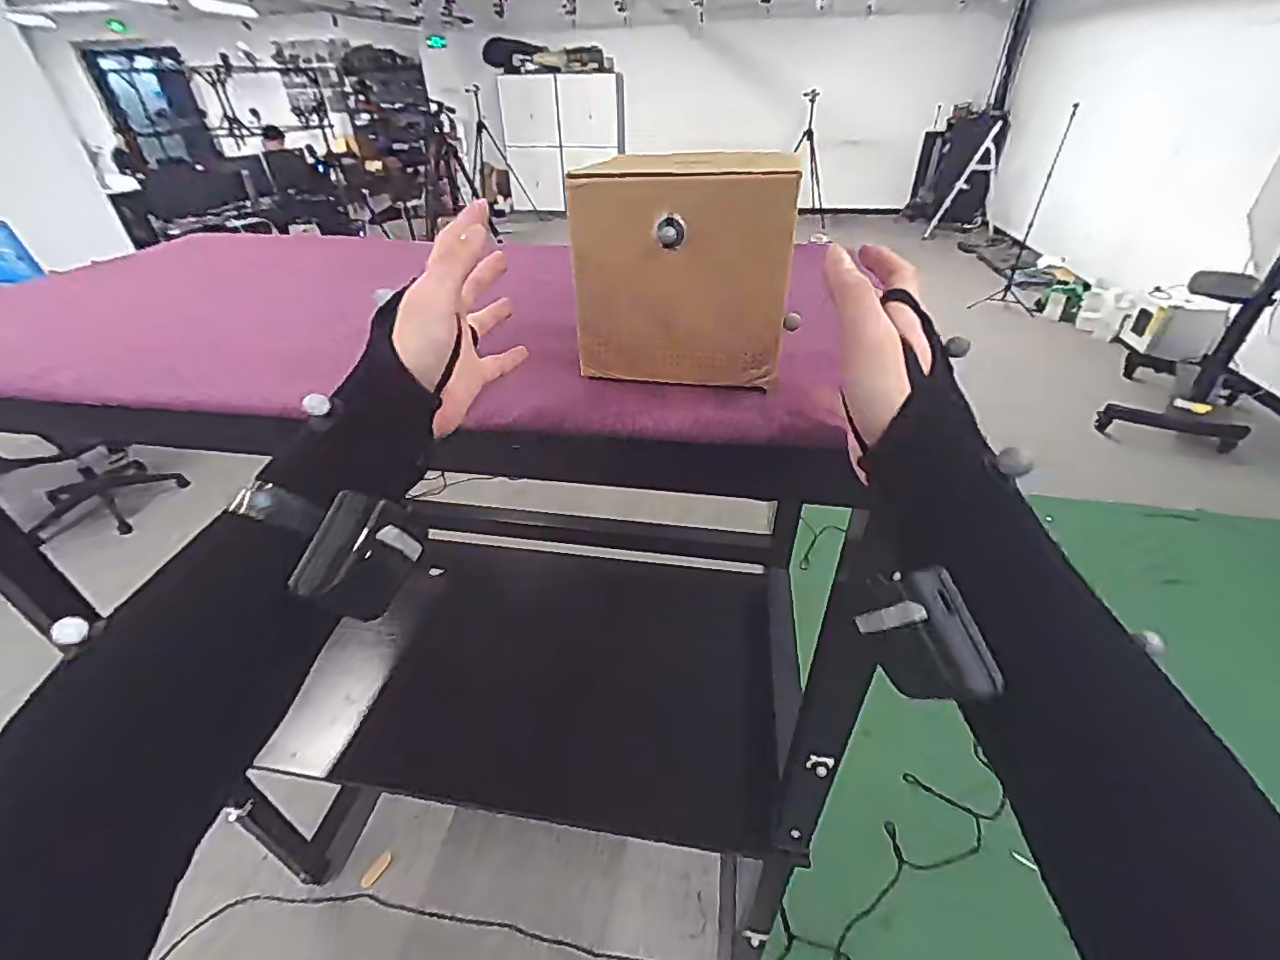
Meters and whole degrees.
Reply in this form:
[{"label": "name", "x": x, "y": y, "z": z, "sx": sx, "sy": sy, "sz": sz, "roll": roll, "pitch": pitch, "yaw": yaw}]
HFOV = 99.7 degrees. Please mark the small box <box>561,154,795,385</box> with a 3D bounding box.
[{"label": "small box", "x": 0.044, "y": -0.198, "z": 0.503, "sx": 0.179, "sy": 0.176, "sz": 0.168, "roll": 7, "pitch": 36, "yaw": 12}]
